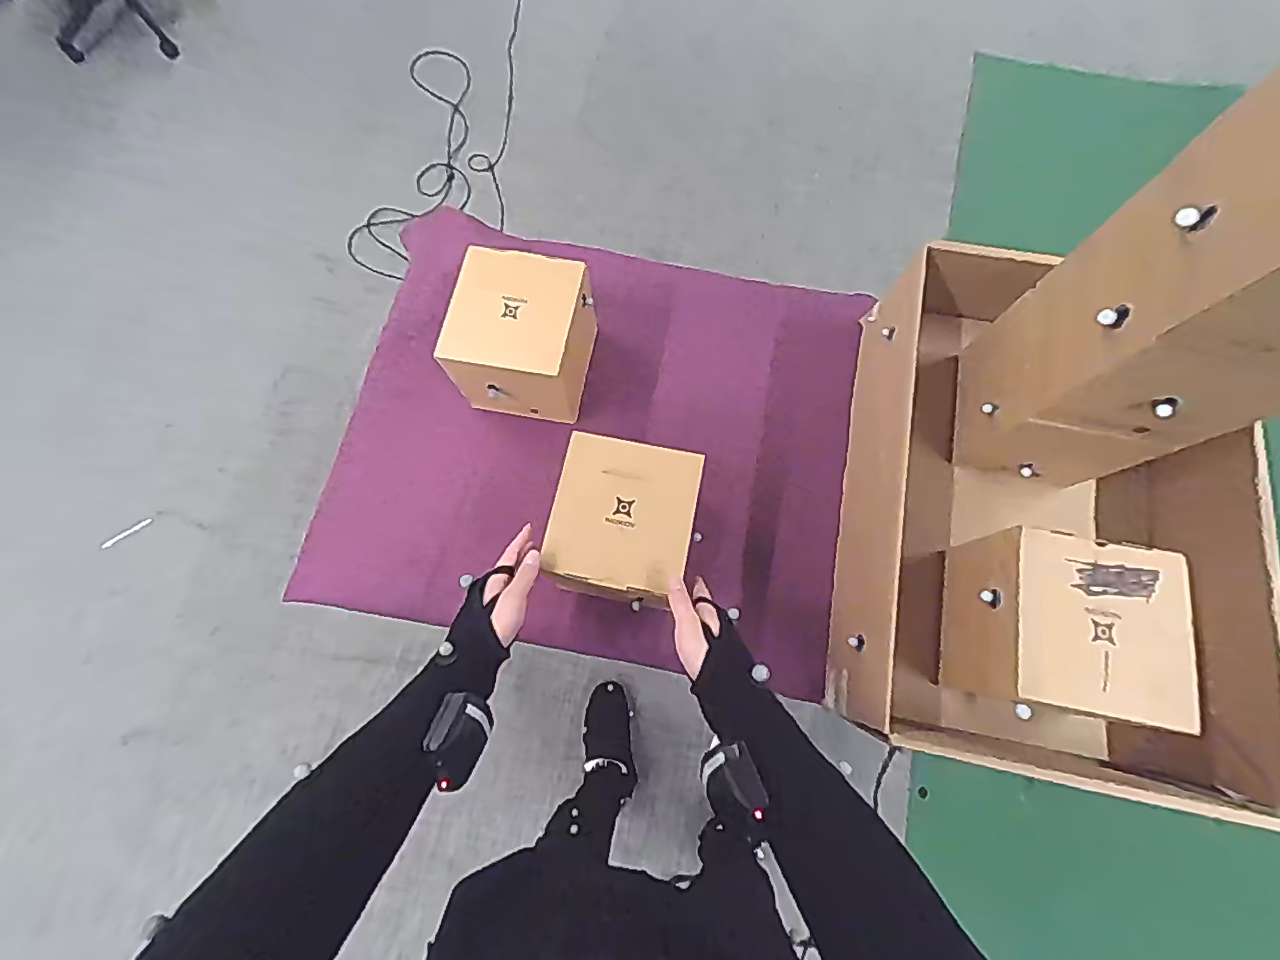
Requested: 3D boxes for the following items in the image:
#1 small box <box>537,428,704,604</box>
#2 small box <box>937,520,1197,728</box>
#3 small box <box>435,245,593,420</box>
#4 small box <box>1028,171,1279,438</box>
[{"bbox_3d":[-0.019,0.057,0.704,0.168,0.176,0.179,12,72,4],"label":"small box"},{"bbox_3d":[0.460,0.161,0.613,0.168,0.176,0.179,10,74,6],"label":"small box"},{"bbox_3d":[-0.167,-0.204,0.786,0.168,0.176,0.179,9,73,4],"label":"small box"},{"bbox_3d":[0.522,-0.159,0.535,0.168,0.176,0.179,13,75,5],"label":"small box"}]
